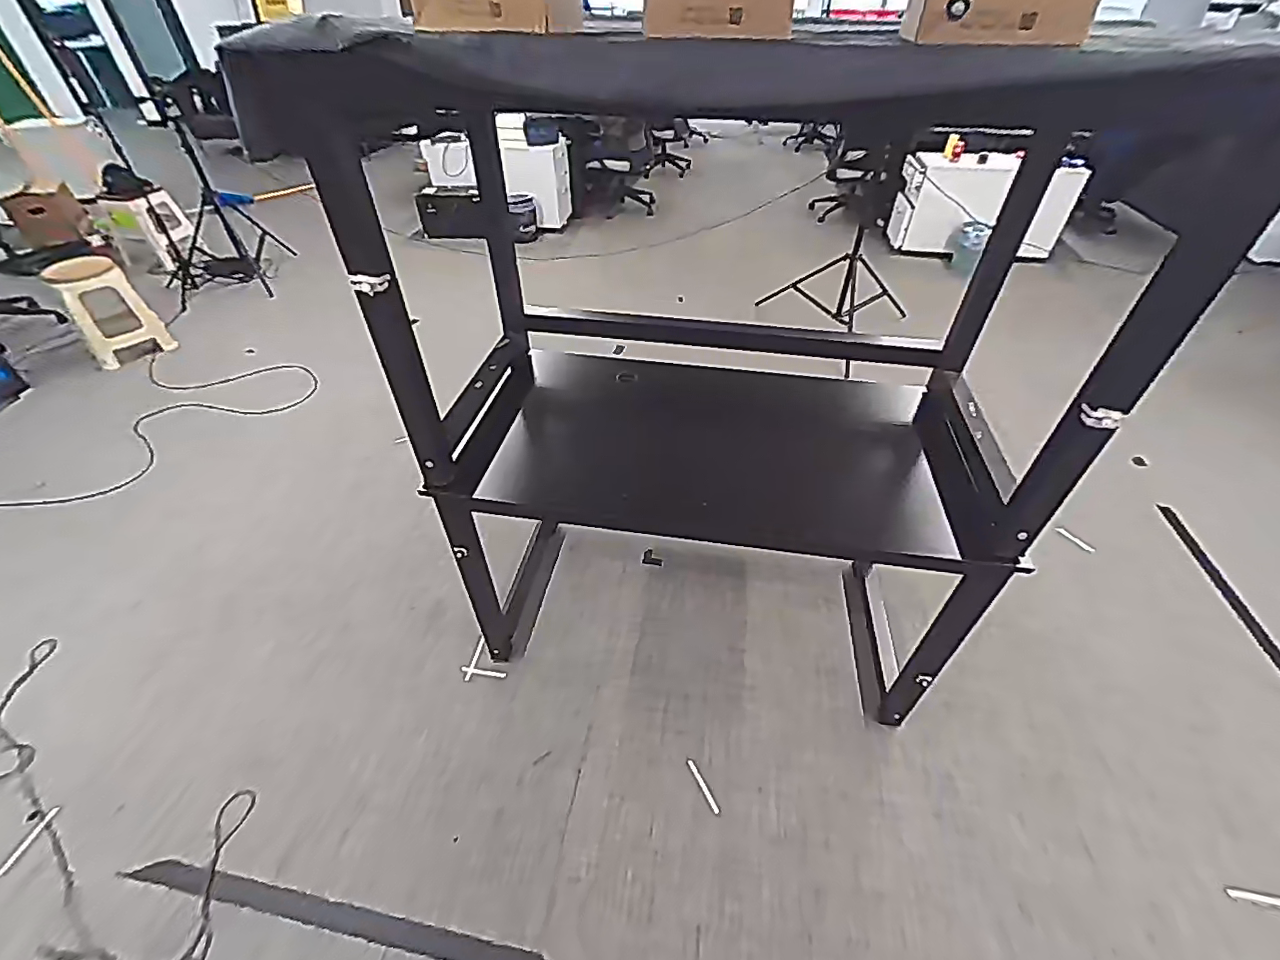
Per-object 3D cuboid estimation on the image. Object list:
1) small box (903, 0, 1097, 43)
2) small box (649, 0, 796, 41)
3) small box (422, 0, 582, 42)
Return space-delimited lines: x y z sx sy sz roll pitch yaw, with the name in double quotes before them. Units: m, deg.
"small box" 0.398 -0.578 0.577 0.168 0.176 0.179 9 41 11
"small box" 0.102 -0.610 0.610 0.168 0.176 0.179 7 41 8
"small box" -0.167 -0.639 0.644 0.168 0.176 0.179 7 42 6
